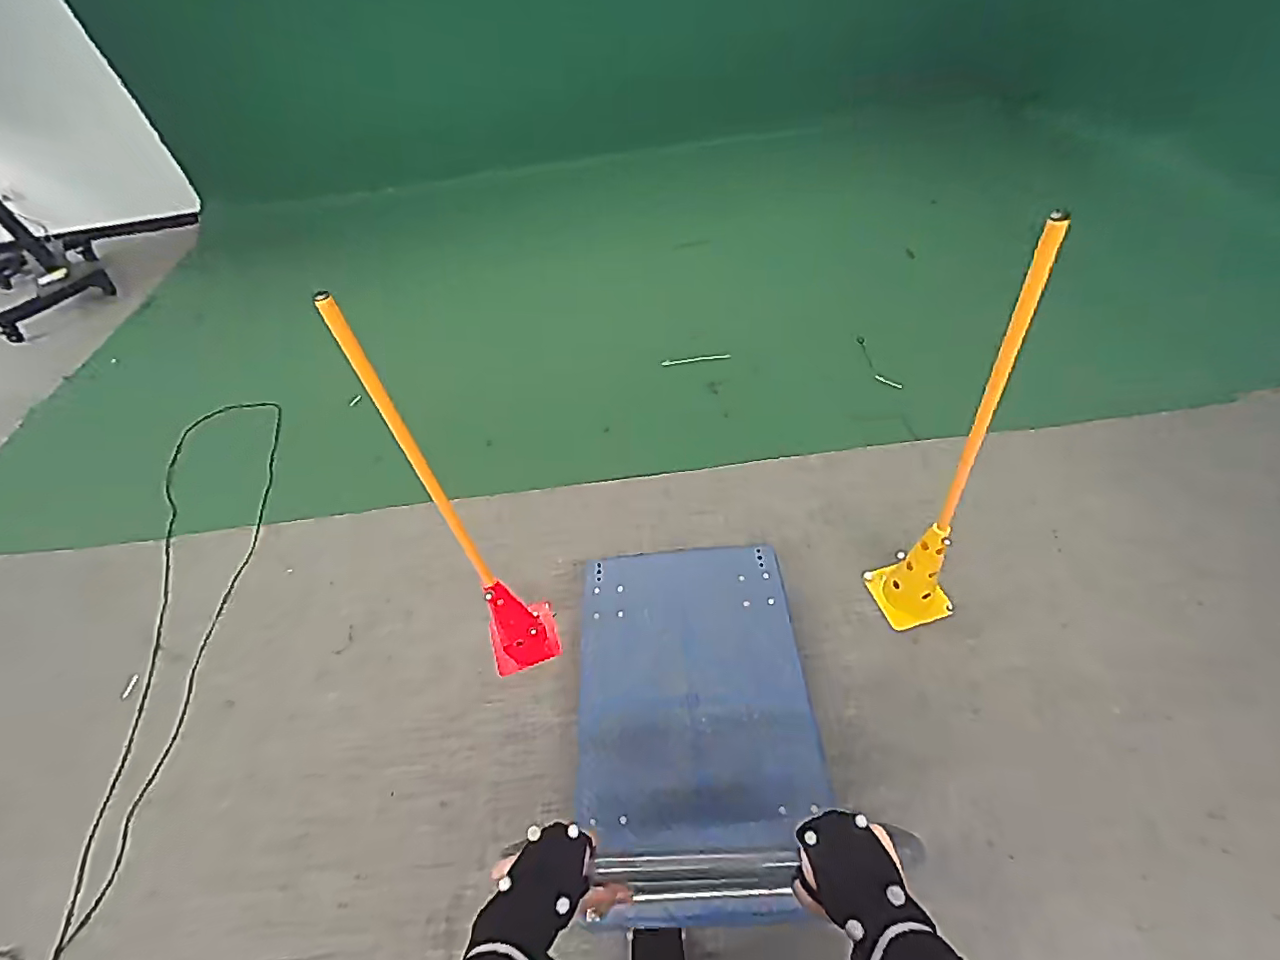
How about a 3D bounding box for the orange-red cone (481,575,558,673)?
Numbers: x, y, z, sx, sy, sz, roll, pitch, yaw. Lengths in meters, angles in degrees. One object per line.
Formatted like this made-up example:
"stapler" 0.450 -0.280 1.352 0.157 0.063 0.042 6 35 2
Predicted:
"orange-red cone" -0.383 0.379 1.554 0.199 0.360 0.198 -19 50 -6
